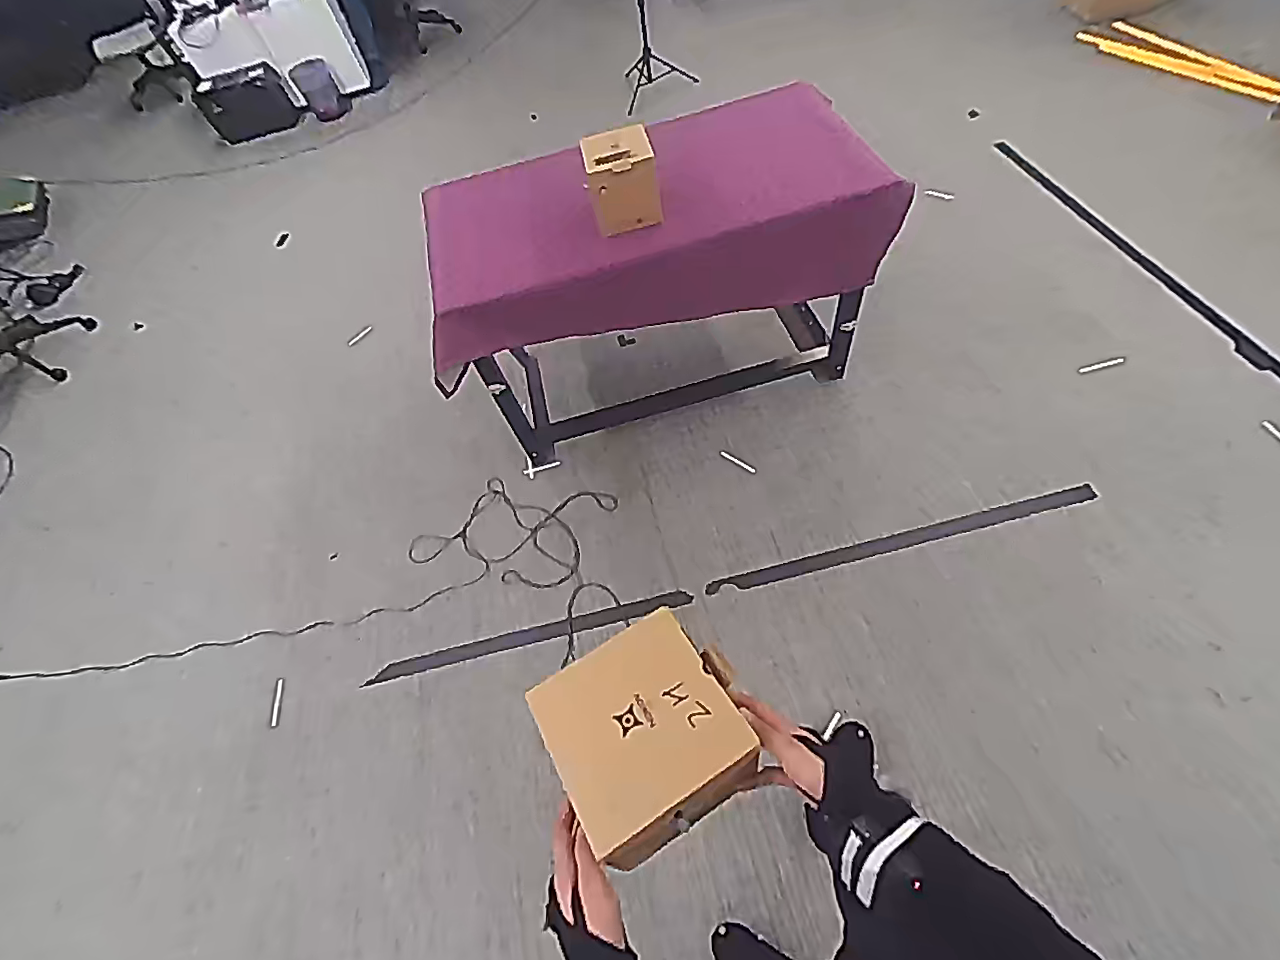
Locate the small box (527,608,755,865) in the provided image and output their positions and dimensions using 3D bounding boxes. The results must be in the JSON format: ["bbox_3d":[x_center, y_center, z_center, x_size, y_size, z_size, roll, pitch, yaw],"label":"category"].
[{"bbox_3d":[0.008,0.280,0.585,0.179,0.176,0.168,-29,52,-14],"label":"small box"}]
